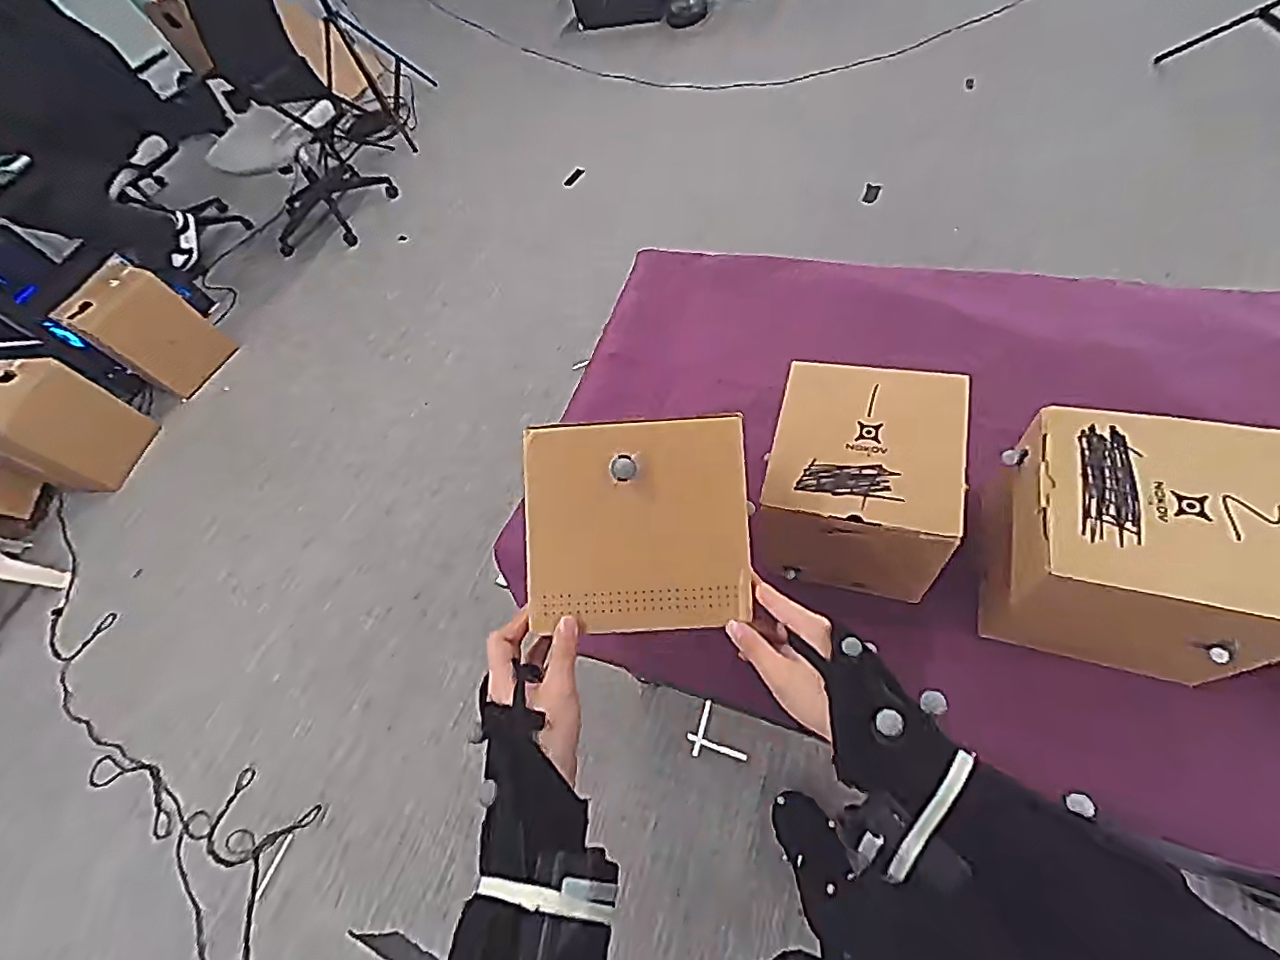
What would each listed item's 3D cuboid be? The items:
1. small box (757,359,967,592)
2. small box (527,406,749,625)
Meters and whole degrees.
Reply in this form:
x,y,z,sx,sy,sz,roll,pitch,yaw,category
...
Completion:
x,y,z,sx,sy,sz,roll,pitch,yaw,category
0.225,0.000,0.567,0.168,0.176,0.179,10,62,19,small box
0.001,0.034,0.500,0.179,0.168,0.176,-3,84,1,small box
